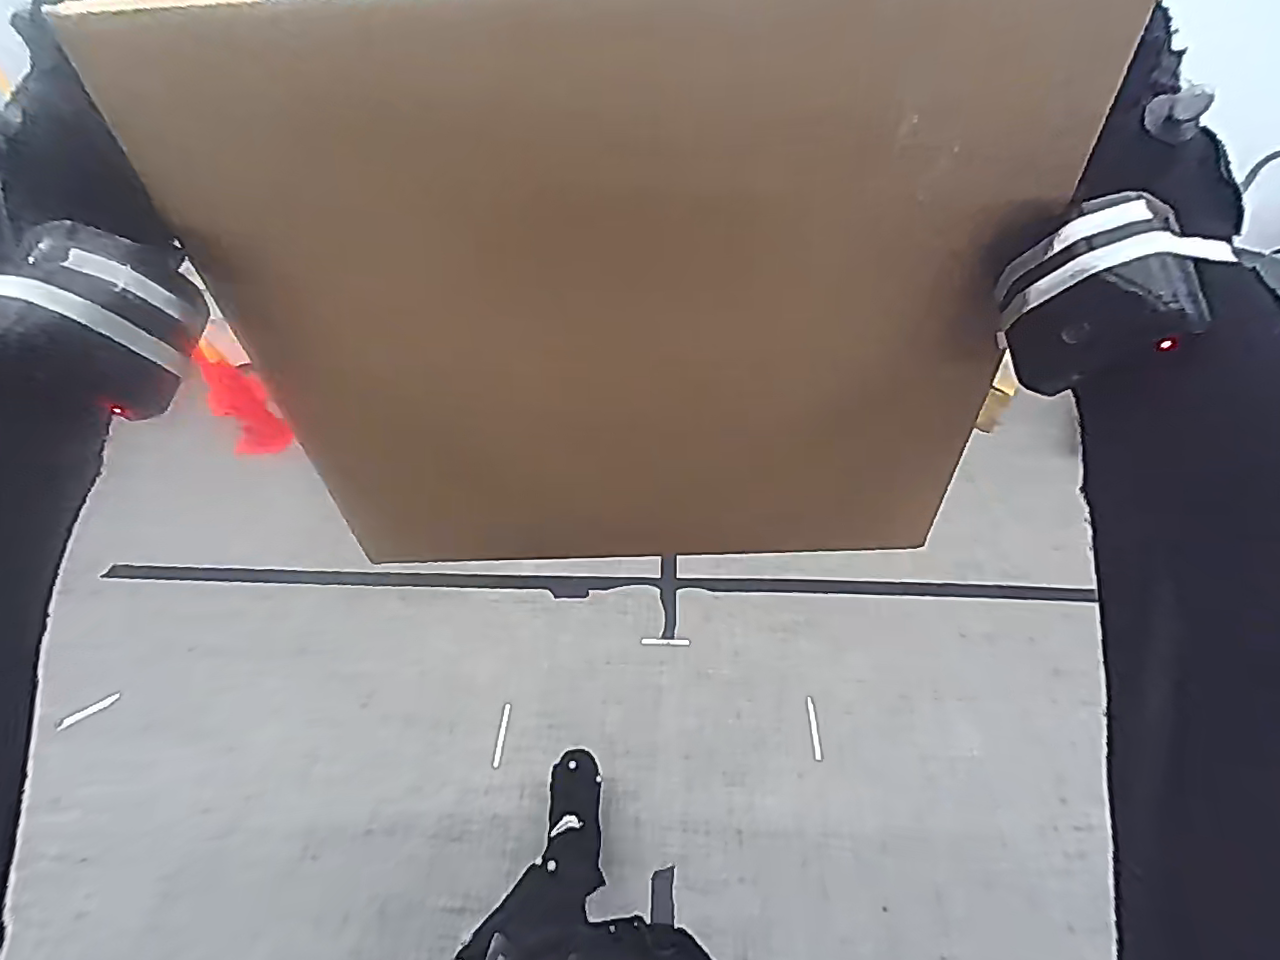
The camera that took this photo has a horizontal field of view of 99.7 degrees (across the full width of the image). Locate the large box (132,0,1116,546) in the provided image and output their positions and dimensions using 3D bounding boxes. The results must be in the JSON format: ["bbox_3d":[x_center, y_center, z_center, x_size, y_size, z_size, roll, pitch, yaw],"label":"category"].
[{"bbox_3d":[-0.005,-0.166,0.422,0.408,0.320,0.320,-2,41,2],"label":"large box"}]
